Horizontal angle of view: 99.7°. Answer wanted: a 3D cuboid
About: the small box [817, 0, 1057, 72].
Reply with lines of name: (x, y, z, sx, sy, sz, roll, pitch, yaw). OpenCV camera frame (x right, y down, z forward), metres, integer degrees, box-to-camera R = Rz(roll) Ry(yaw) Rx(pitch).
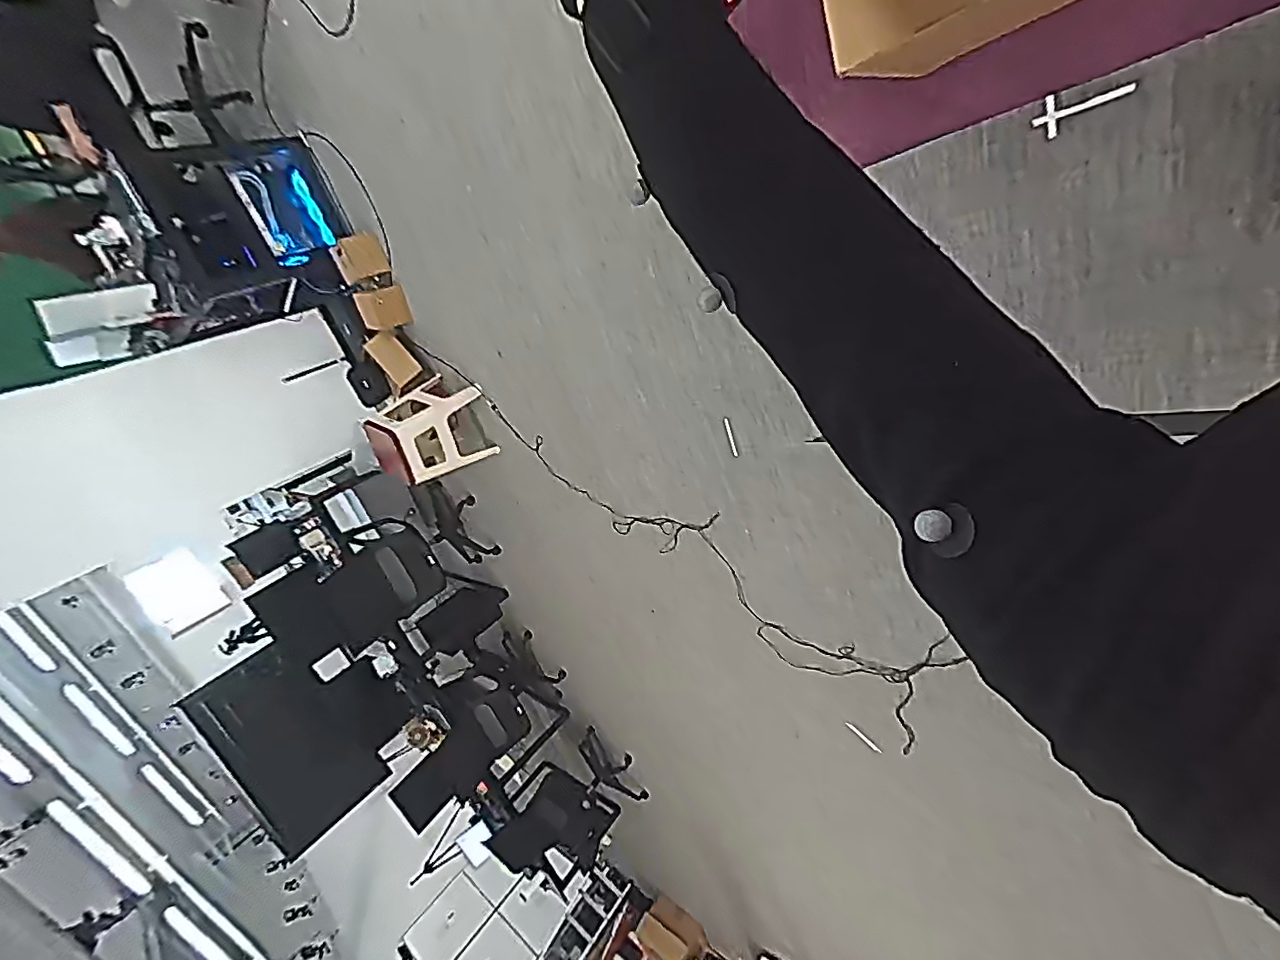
small box: (0.219, -0.391, 0.342, 0.179, 0.176, 0.168, -1, 118, 45)
